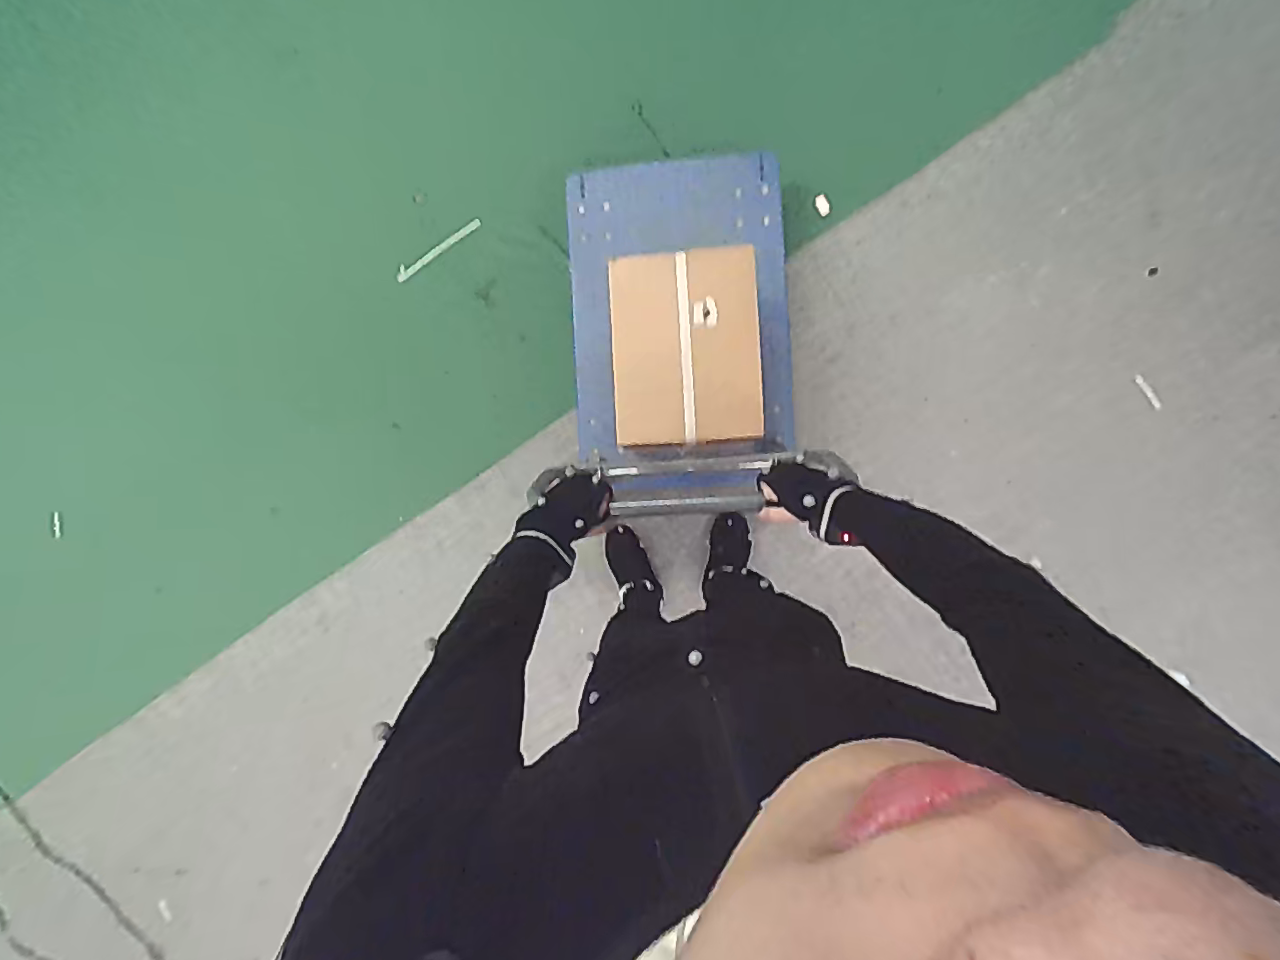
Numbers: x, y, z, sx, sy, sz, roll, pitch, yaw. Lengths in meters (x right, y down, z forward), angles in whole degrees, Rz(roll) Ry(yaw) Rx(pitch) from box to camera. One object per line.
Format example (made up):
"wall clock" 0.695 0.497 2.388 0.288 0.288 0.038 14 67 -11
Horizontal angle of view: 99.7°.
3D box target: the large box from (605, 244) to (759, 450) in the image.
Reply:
"large box" 0.103 -0.291 1.305 0.320 0.320 0.408 -3 89 5
